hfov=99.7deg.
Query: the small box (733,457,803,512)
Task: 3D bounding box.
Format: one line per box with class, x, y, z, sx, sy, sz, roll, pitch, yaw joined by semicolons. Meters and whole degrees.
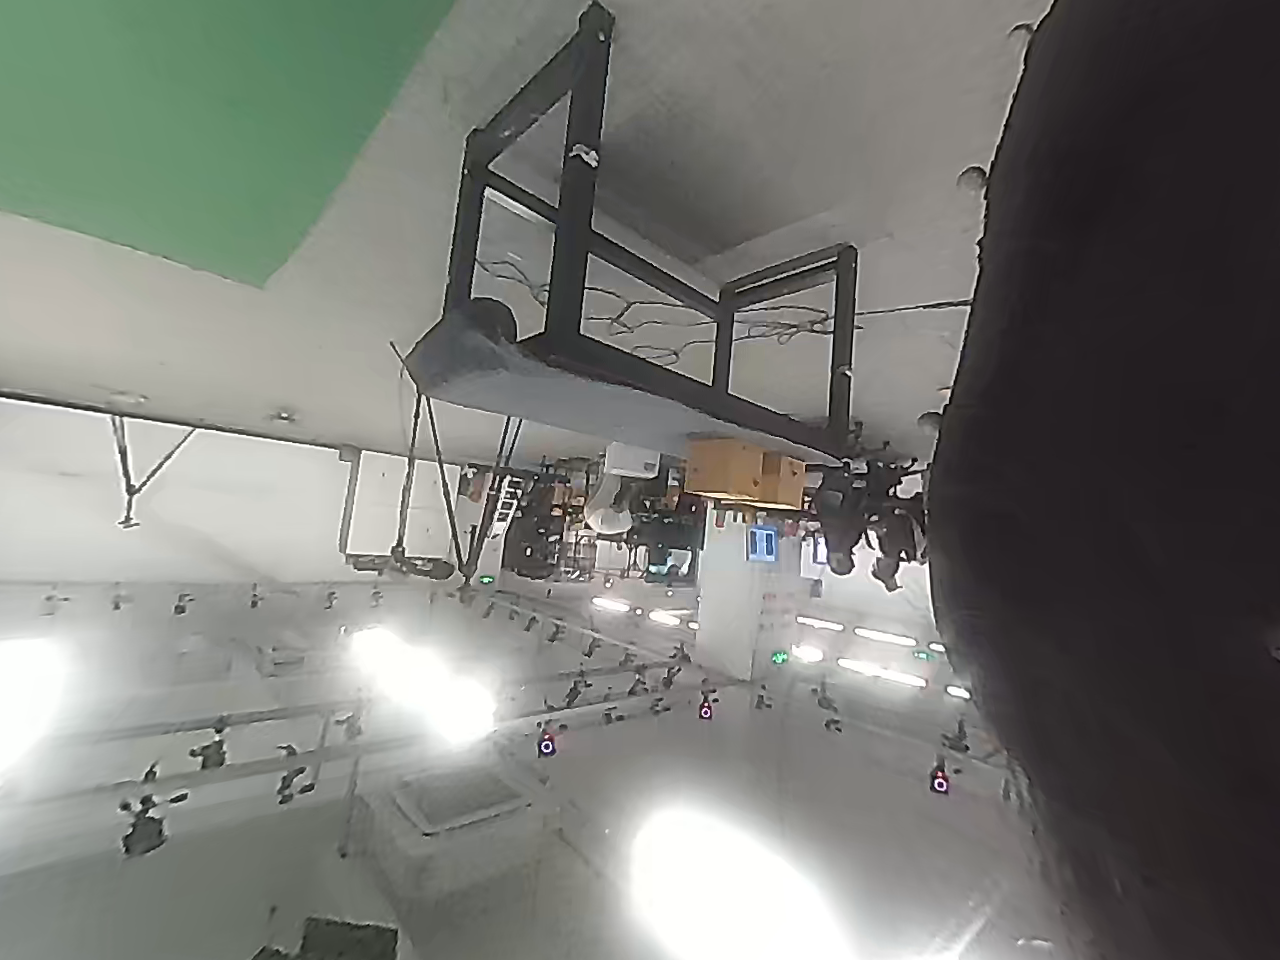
small box;0.450;0.014;1.884;0.179;0.176;0.168;2;173;45
